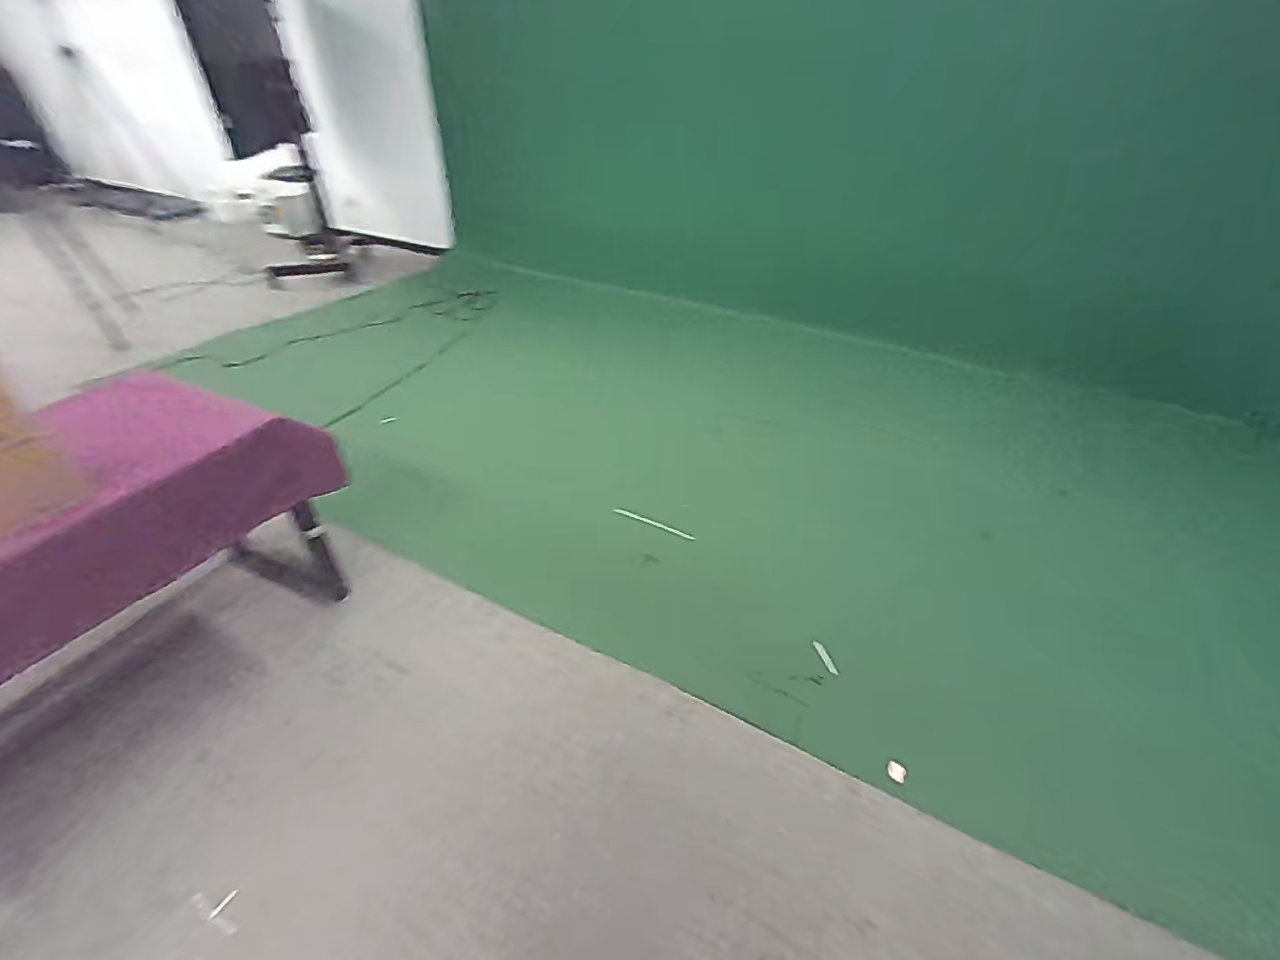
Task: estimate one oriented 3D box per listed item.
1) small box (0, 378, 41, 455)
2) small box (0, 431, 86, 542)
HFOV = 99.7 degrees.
[{"bbox_3d":[-1.331,-0.133,1.032,0.179,0.176,0.168,19,41,20],"label":"small box"},{"bbox_3d":[-1.325,-0.001,1.127,0.168,0.176,0.179,18,39,20],"label":"small box"}]
